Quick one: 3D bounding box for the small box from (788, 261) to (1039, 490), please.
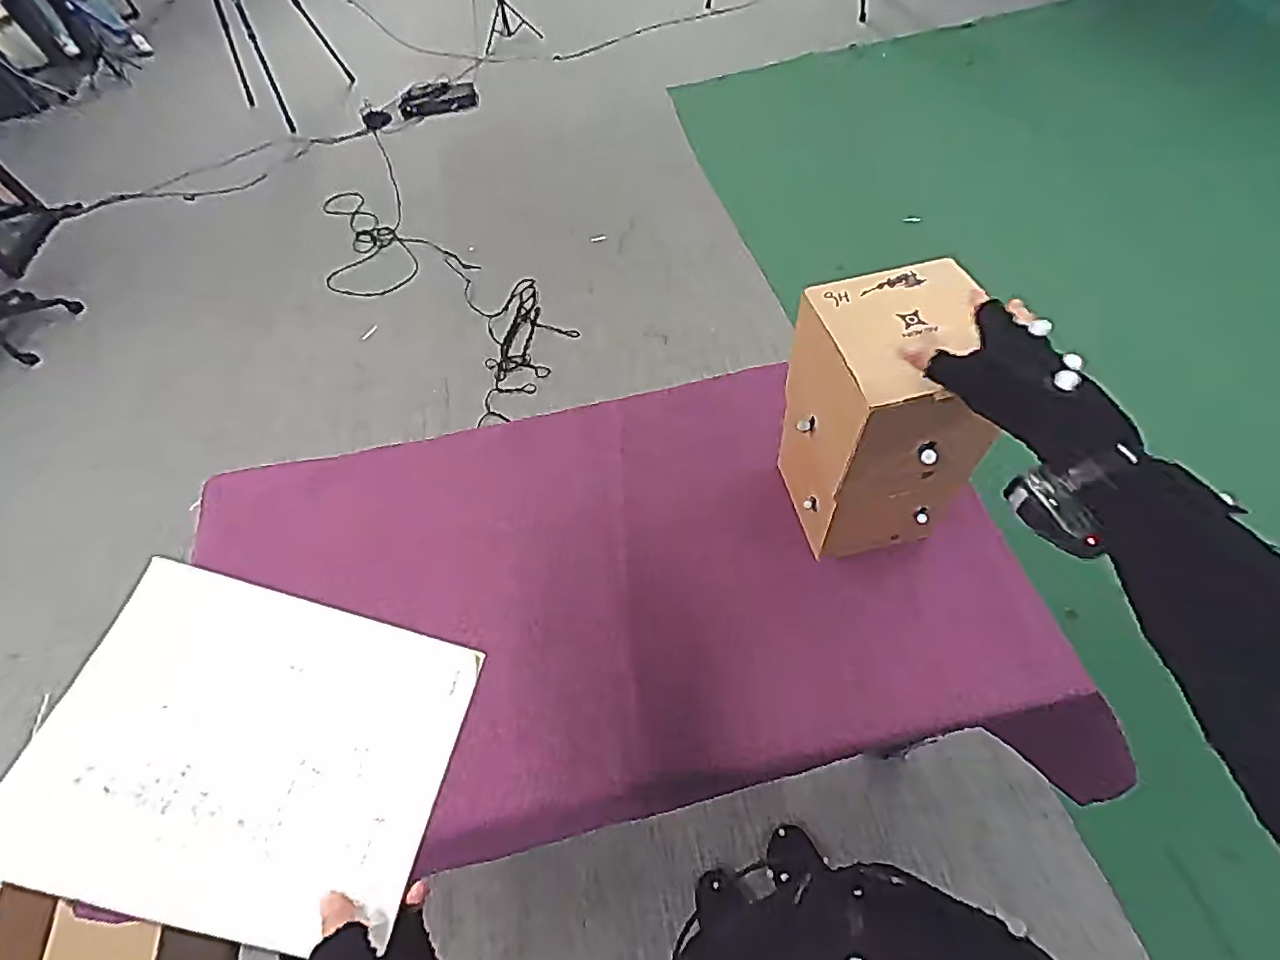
[{"bbox_3d":[0.276,-0.104,0.598,0.168,0.176,0.179,-12,57,-1],"label":"small box"}]

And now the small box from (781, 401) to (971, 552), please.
[{"bbox_3d":[0.301,-0.016,0.734,0.168,0.176,0.179,-12,56,0],"label":"small box"}]
